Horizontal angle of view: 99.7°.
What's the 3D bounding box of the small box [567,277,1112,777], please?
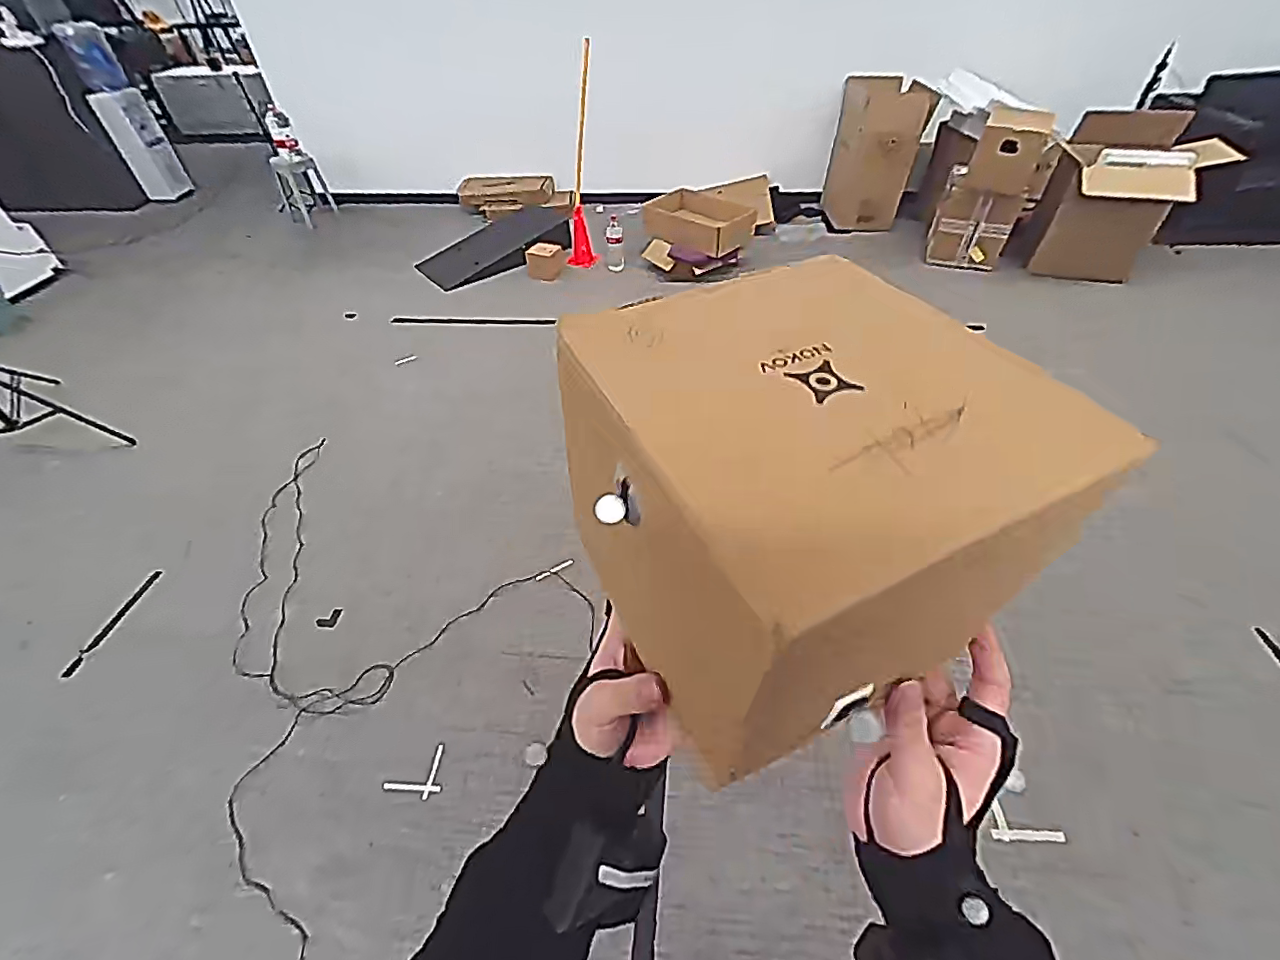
[{"bbox_3d":[0.072,0.019,0.293,0.168,0.176,0.179,-21,50,-18],"label":"small box"}]
